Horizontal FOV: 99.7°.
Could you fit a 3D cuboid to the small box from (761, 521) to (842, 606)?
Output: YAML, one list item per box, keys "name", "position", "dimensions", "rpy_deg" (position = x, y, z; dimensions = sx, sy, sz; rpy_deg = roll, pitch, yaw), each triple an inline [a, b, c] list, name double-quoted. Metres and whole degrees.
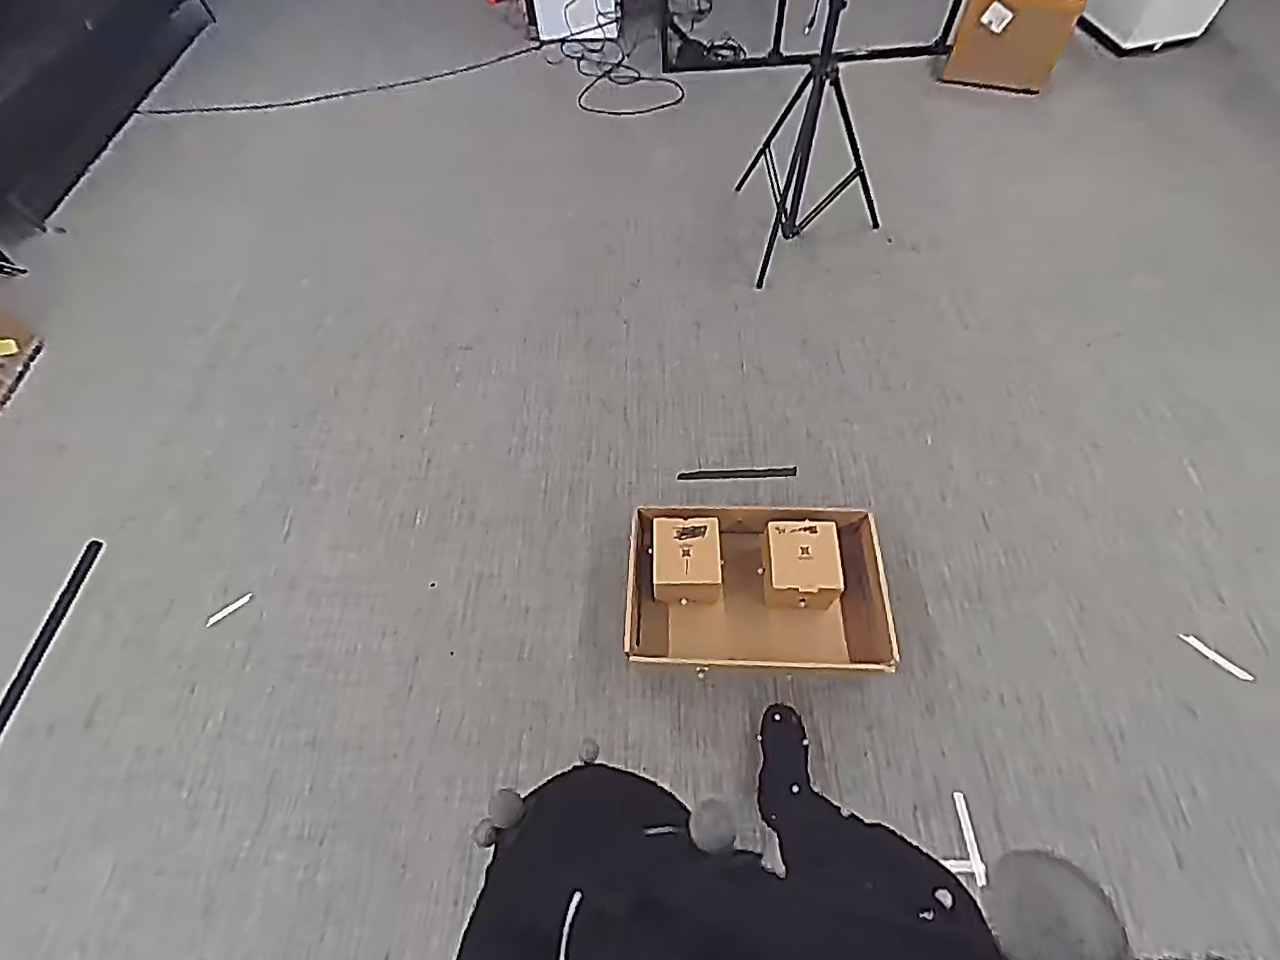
- name: "small box"
  position: [0.402, 0.217, 1.374]
  dimensions: [0.168, 0.176, 0.179]
  rpy_deg: [1, 63, 5]
